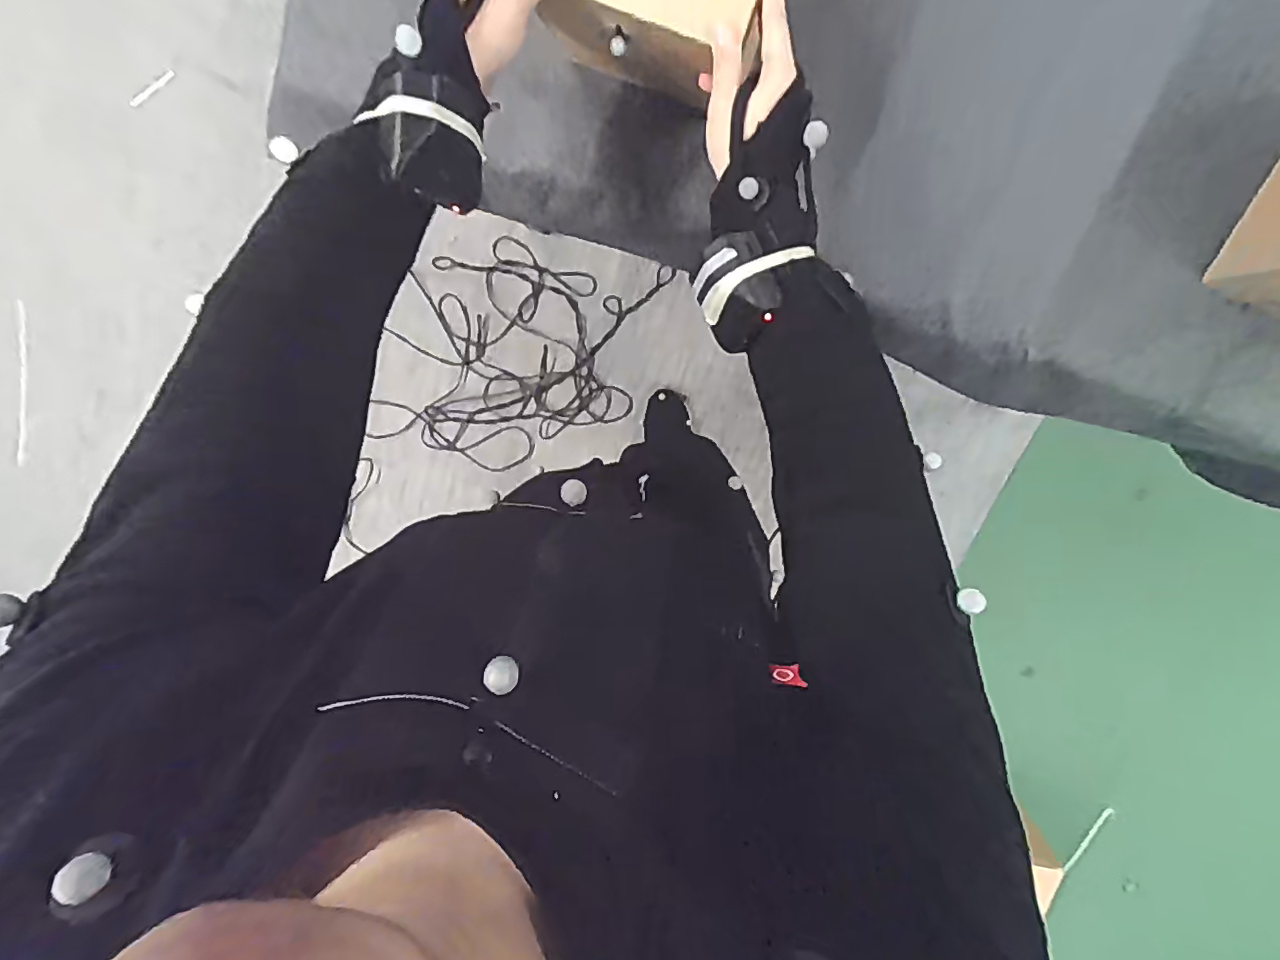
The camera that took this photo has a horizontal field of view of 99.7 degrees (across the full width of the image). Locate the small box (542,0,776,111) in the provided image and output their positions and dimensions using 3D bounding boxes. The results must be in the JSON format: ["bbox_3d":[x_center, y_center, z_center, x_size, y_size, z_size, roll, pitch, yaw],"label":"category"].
[{"bbox_3d":[0.024,-0.417,0.411,0.179,0.176,0.168,20,111,-1],"label":"small box"}]
